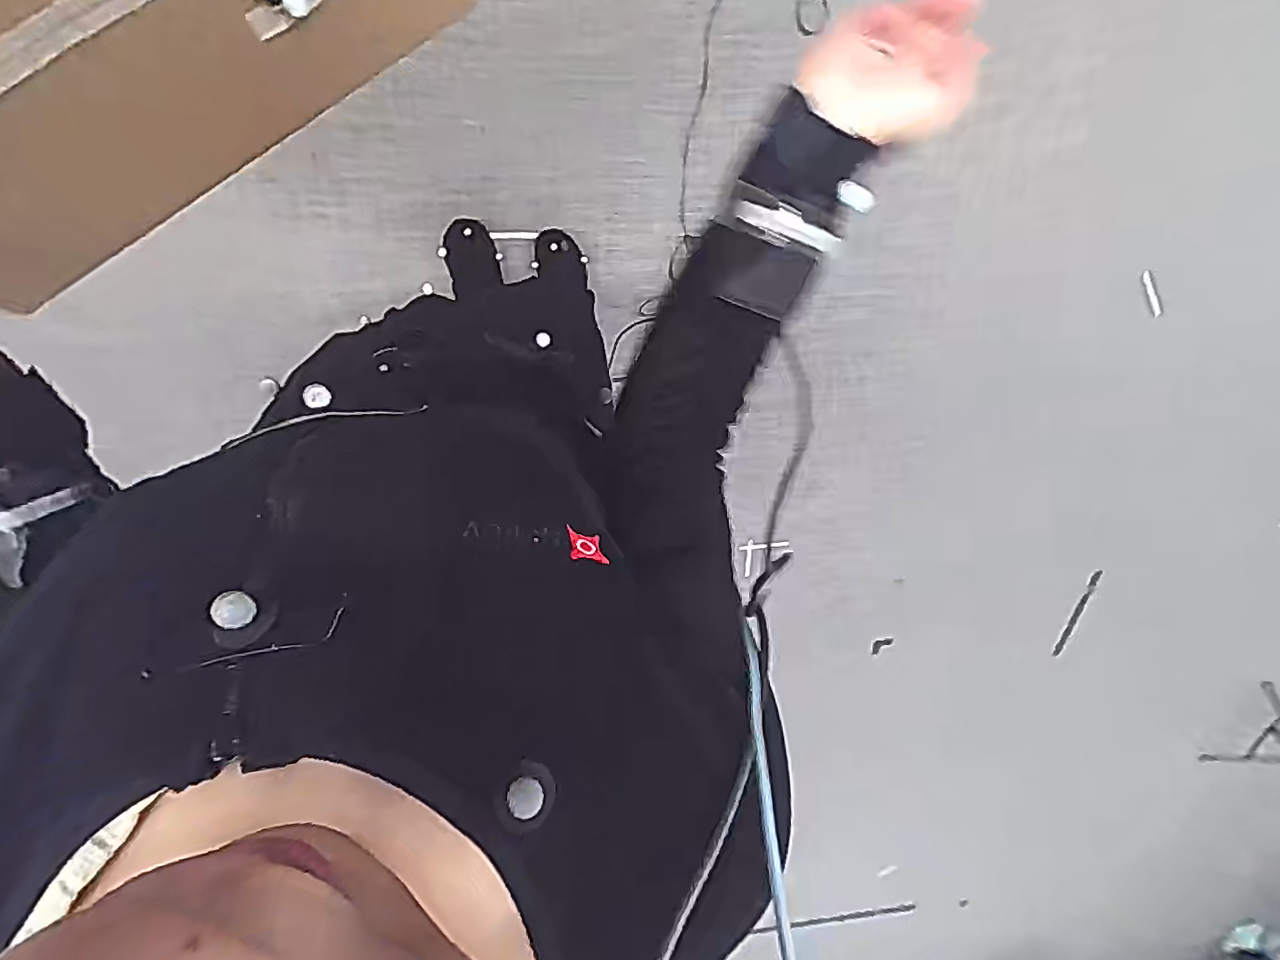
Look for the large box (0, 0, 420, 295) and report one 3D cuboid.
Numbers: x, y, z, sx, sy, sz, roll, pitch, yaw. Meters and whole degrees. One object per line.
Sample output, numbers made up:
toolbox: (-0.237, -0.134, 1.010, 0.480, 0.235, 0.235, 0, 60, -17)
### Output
large box: (-0.345, -0.356, 0.212, 0.408, 0.320, 0.320, -43, 102, -7)
